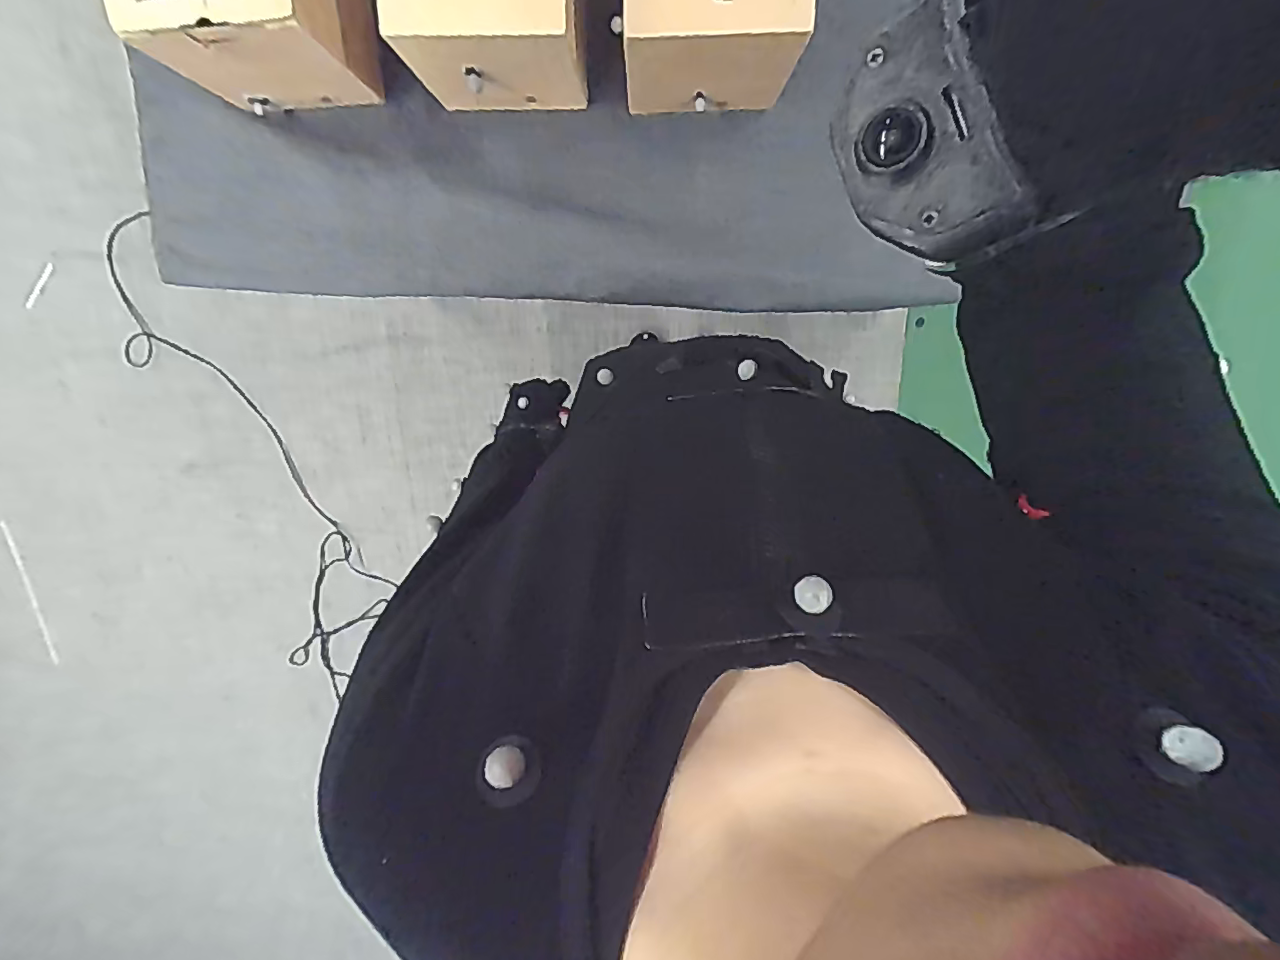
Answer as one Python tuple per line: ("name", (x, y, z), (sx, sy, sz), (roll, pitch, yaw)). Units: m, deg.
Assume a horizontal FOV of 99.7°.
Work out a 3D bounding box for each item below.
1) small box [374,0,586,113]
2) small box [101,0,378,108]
("small box", (-0.144, -0.483, 0.524), (0.168, 0.176, 0.179), (0, 104, 1))
("small box", (-0.380, -0.489, 0.524), (0.168, 0.176, 0.179), (-3, 103, 1))
